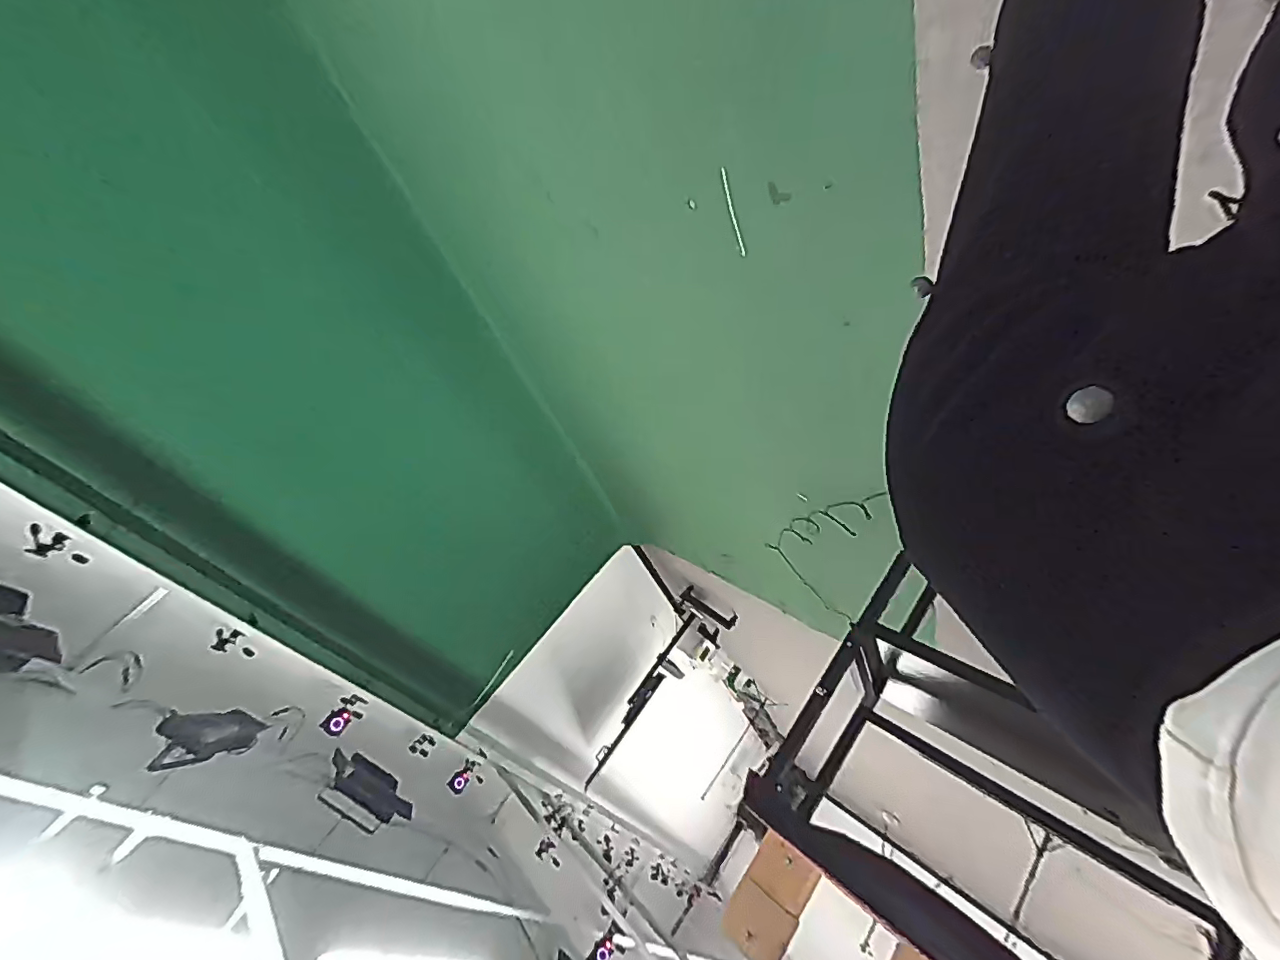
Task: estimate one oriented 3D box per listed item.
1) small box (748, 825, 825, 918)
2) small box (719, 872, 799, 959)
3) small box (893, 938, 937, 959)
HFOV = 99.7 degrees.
[{"bbox_3d":[0.483,1.272,1.763,0.168,0.176,0.179,22,151,43],"label":"small box"},{"bbox_3d":[0.381,1.383,1.696,0.179,0.176,0.168,21,150,43],"label":"small box"},{"bbox_3d":[0.769,1.382,1.460,0.179,0.176,0.168,21,153,42],"label":"small box"}]
